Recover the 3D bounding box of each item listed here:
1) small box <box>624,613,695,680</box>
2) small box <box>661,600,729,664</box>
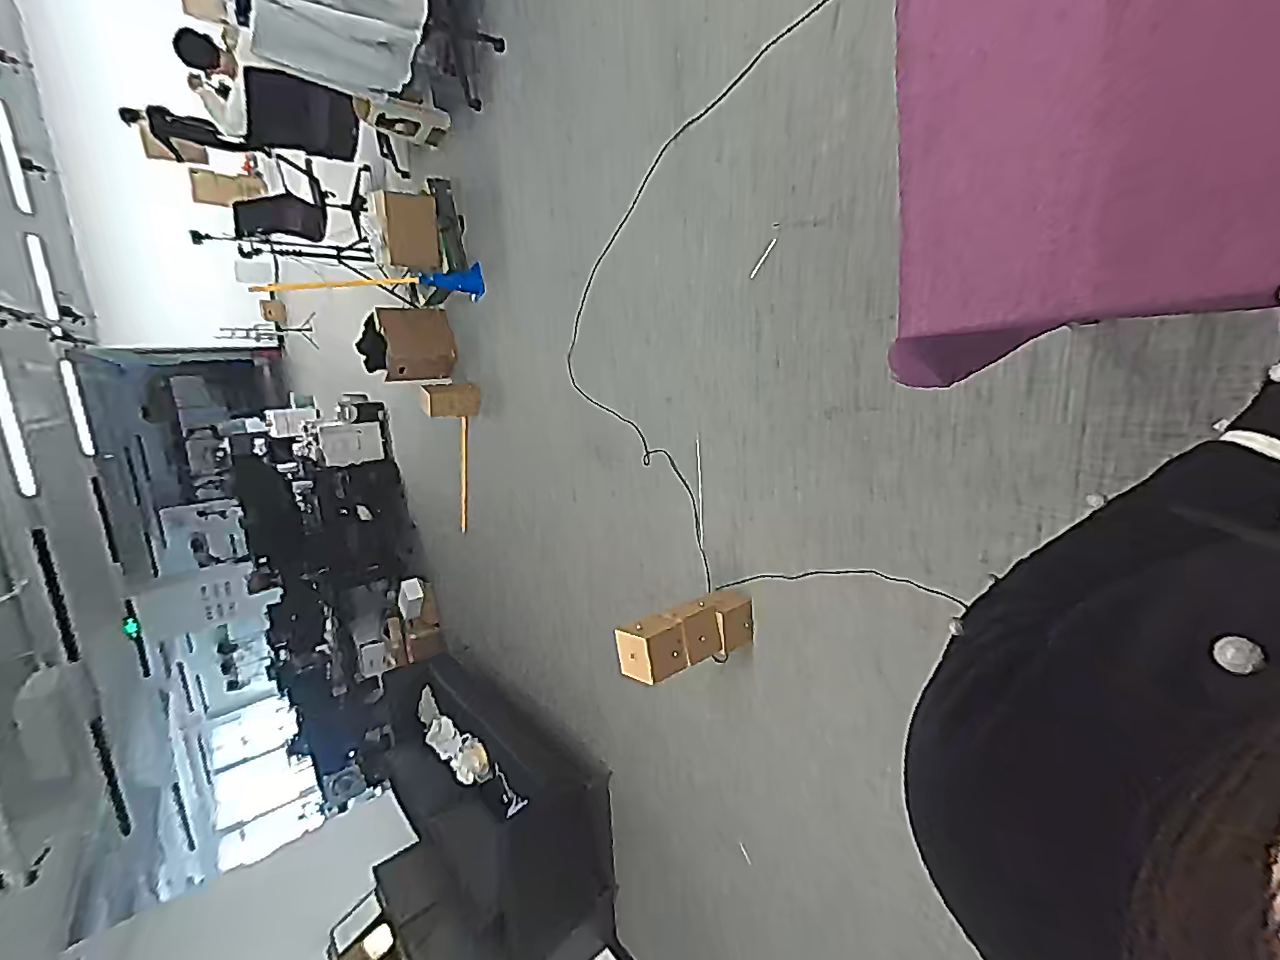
[{"bbox_3d":[0.069,0.582,1.919,0.179,0.176,0.168,-3,97,52],"label":"small box"},{"bbox_3d":[0.206,0.554,2.004,0.168,0.176,0.179,-9,94,53],"label":"small box"}]
